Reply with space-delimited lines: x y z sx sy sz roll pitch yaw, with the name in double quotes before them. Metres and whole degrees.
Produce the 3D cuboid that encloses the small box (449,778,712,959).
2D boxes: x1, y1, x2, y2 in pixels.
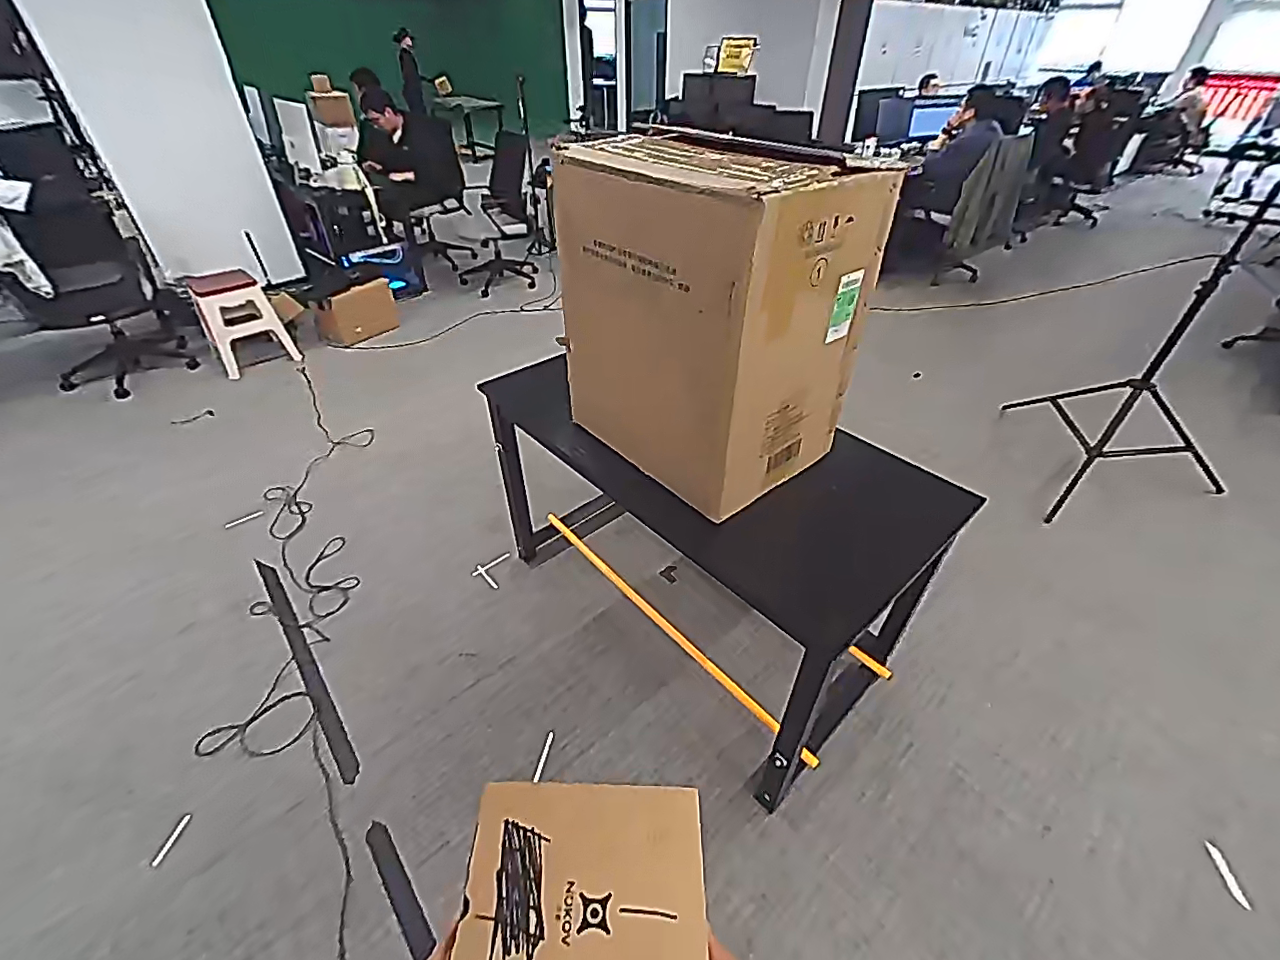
"small box" -0.041 0.359 0.428 0.179 0.176 0.168 3 40 -2
